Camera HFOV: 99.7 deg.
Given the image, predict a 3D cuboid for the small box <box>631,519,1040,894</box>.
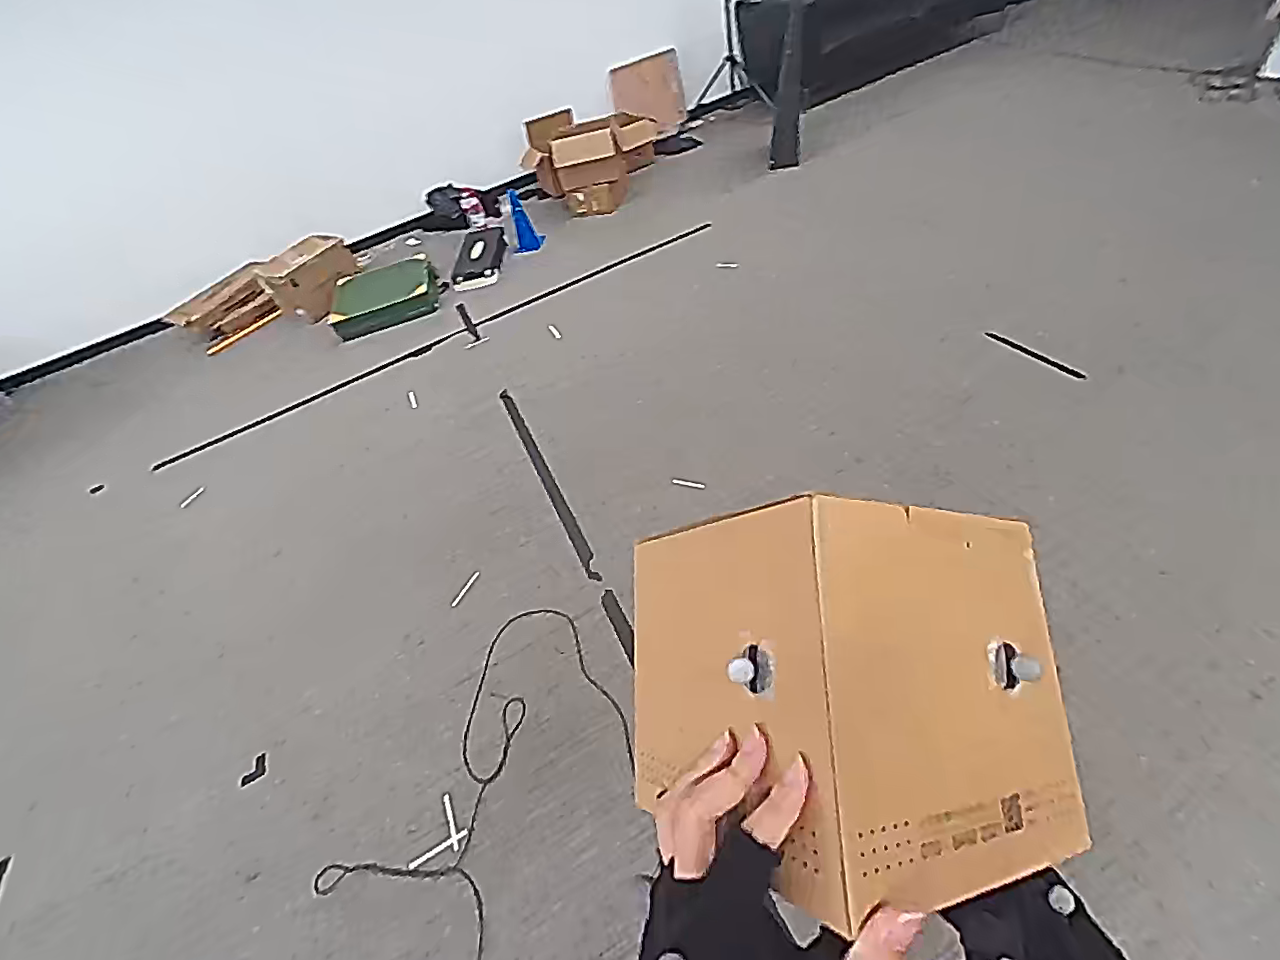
[{"bbox_3d":[0.105,0.125,0.338,0.168,0.179,0.176,6,73,-26],"label":"small box"}]
